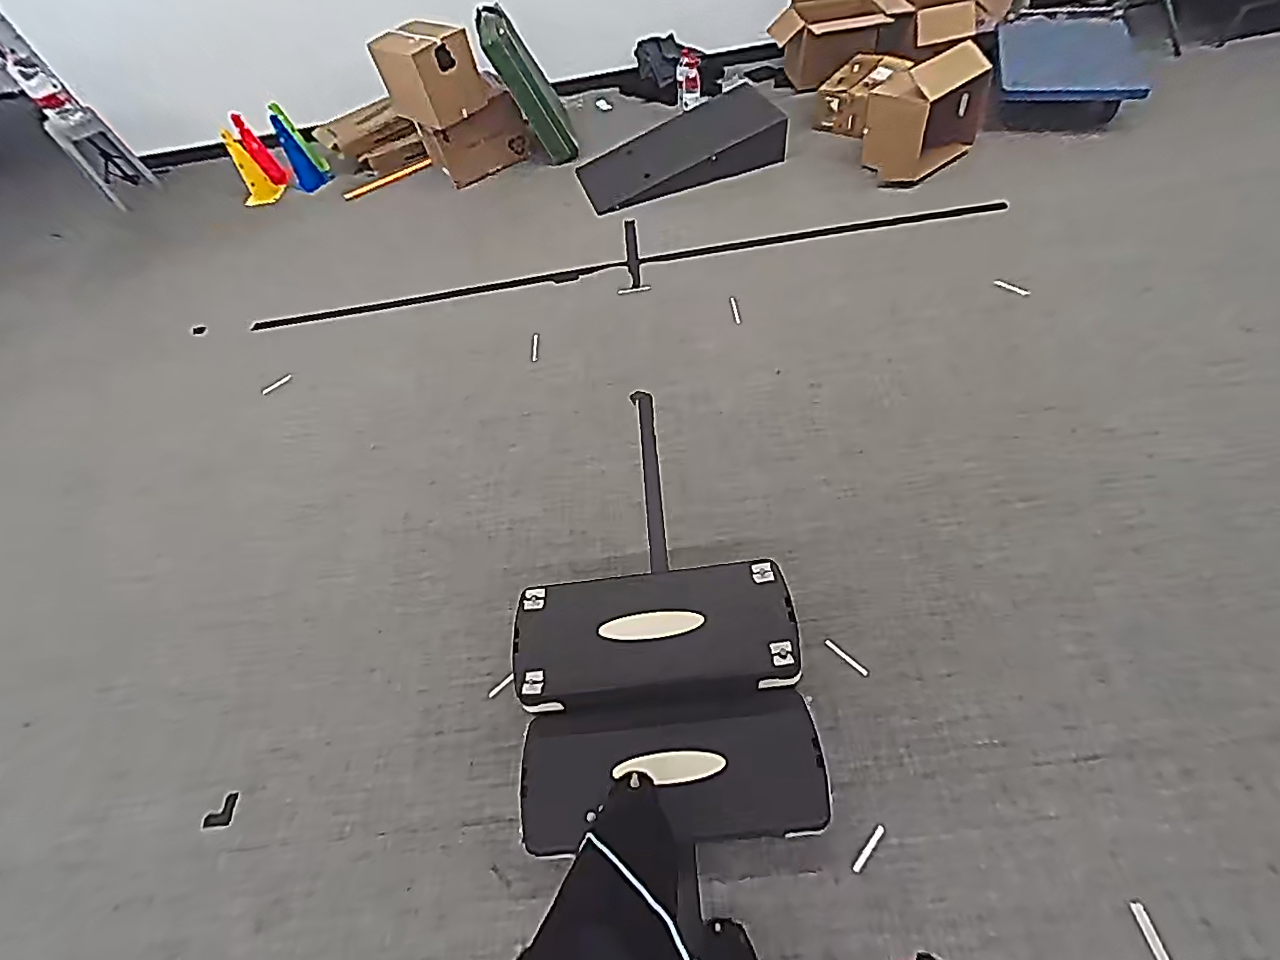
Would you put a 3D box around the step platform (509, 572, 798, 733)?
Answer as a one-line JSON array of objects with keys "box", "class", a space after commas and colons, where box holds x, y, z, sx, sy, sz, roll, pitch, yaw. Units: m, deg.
[{"box": [0.028, 0.419, 1.324, 0.684, 0.204, 0.286, -8, 56, 2], "class": "step platform"}]
